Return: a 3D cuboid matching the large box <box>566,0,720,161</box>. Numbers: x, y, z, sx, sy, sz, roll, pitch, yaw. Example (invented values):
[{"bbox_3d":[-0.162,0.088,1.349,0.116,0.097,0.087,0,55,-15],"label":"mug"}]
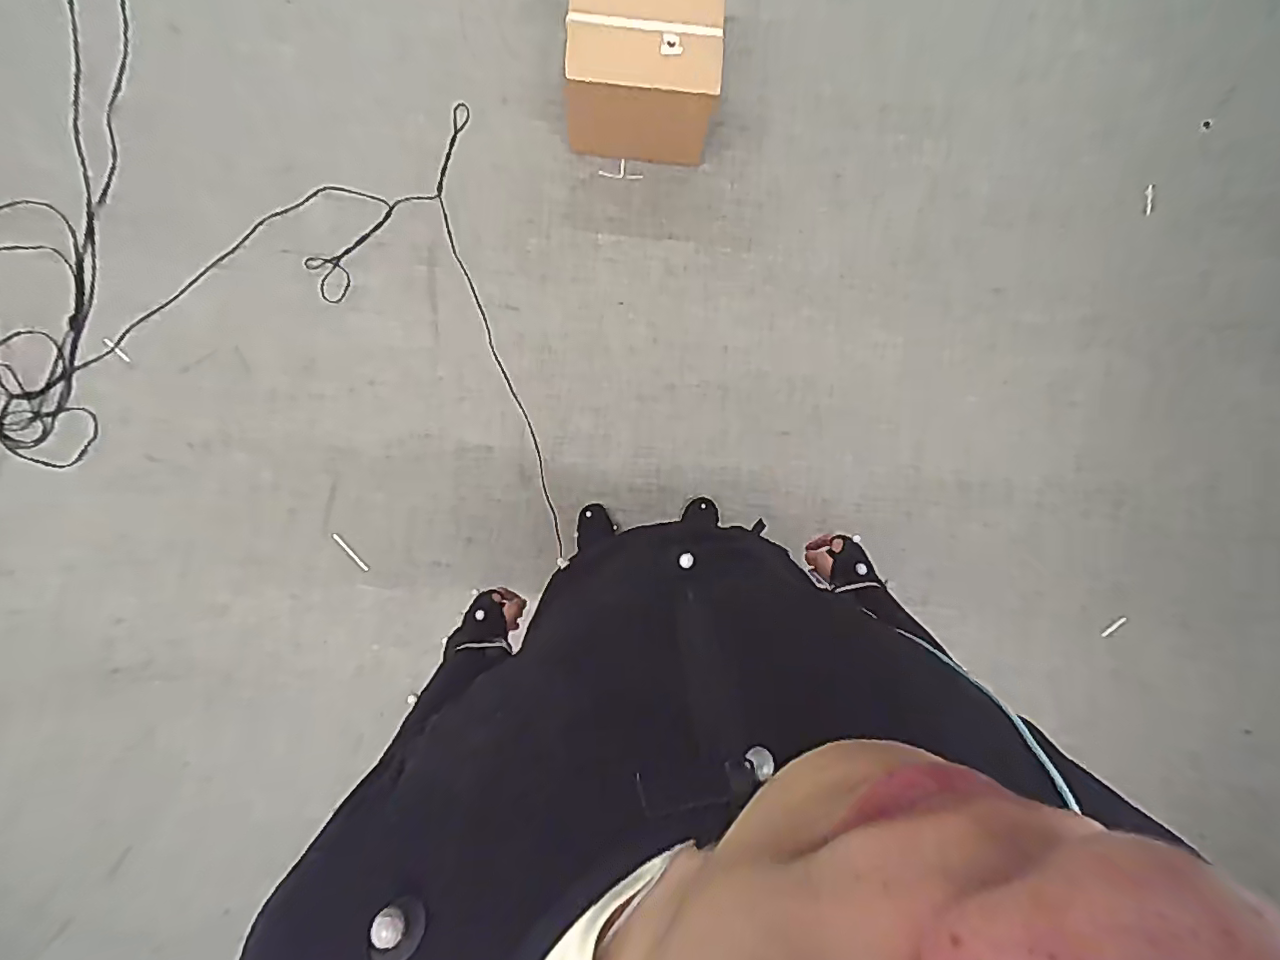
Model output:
[{"bbox_3d":[-0.002,-1.160,1.545,0.408,0.320,0.320,2,88,-4],"label":"large box"}]
